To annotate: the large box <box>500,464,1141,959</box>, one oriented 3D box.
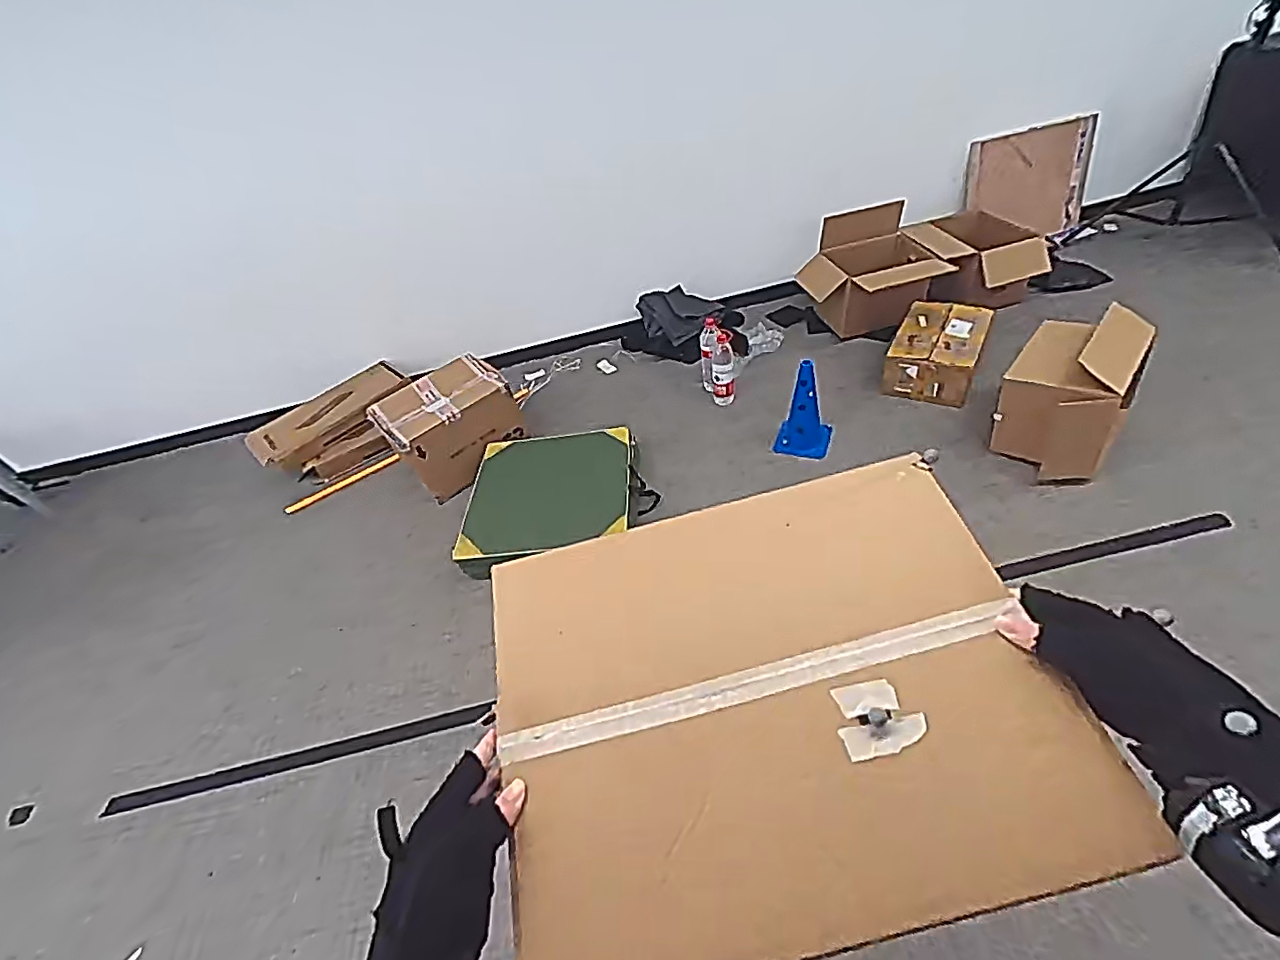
[{"bbox_3d":[0.114,0.240,0.542,0.408,0.320,0.320,-15,55,-1],"label":"large box"}]
